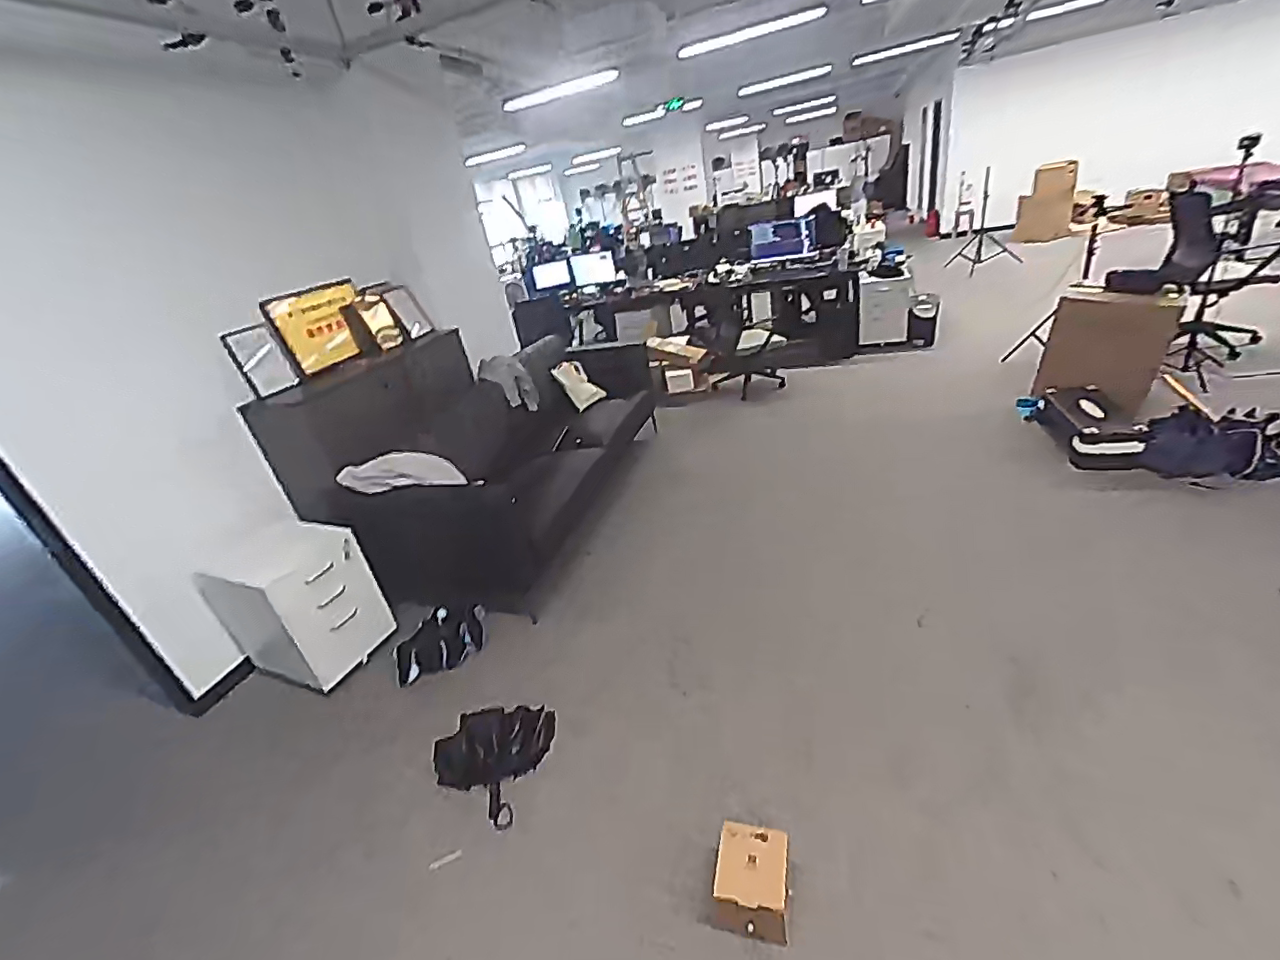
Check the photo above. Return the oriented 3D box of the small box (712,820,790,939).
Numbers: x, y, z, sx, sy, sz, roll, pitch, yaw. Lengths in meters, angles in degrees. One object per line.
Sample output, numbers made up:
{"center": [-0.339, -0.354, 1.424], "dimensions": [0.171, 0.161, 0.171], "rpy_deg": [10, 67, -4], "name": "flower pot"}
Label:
{"center": [0.283, 0.994, 1.347], "dimensions": [0.168, 0.176, 0.179], "rpy_deg": [-2, 31, 19], "name": "small box"}
